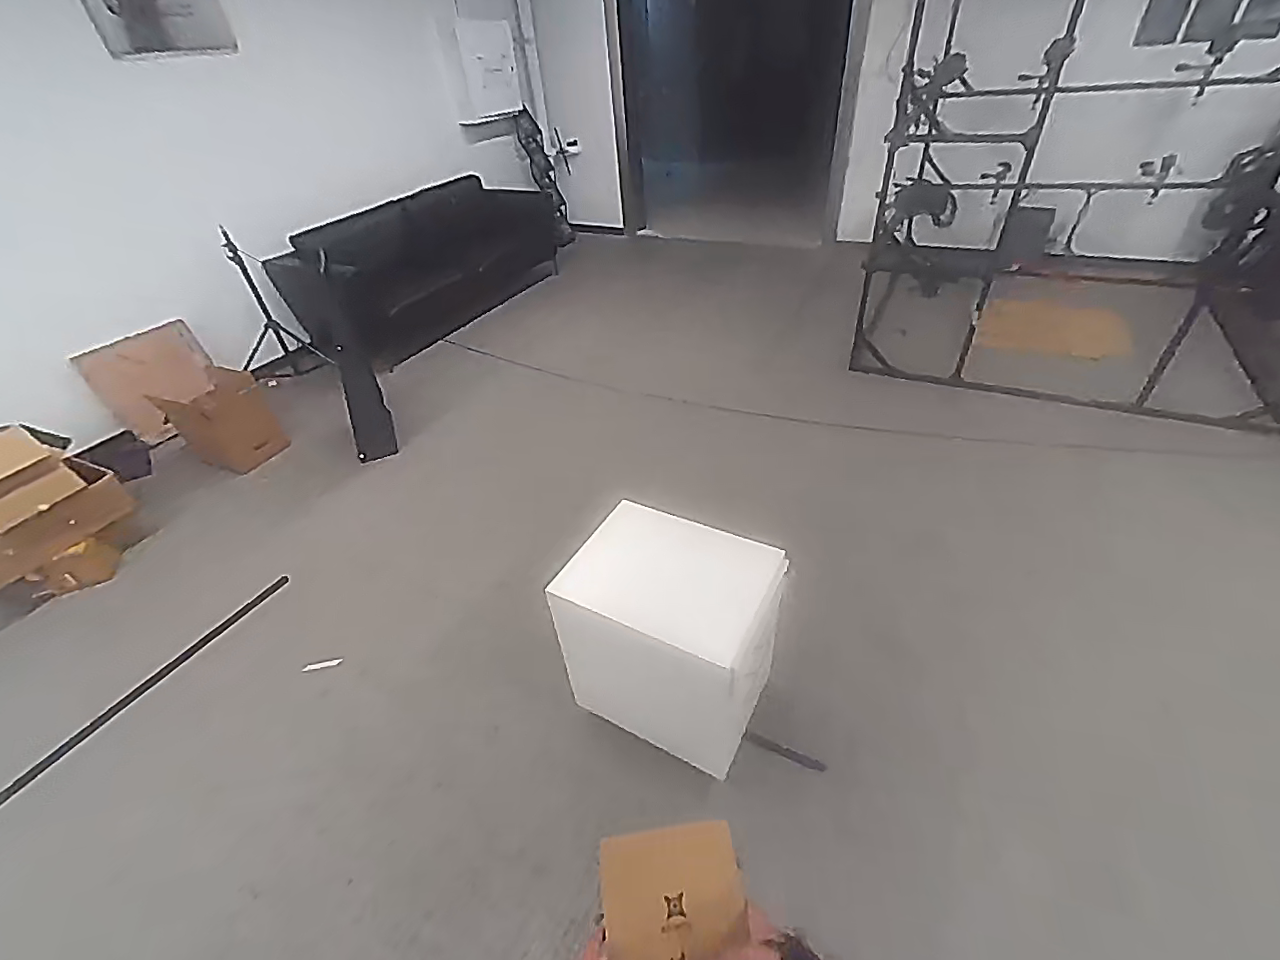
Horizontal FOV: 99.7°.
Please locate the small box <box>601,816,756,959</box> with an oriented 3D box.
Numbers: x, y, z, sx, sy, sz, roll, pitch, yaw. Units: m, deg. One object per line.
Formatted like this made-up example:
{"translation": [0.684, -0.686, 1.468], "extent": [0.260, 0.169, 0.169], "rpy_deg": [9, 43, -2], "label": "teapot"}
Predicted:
{"translation": [0.045, 0.550, 0.684], "extent": [0.168, 0.176, 0.179], "rpy_deg": [-9, 52, -2], "label": "small box"}
